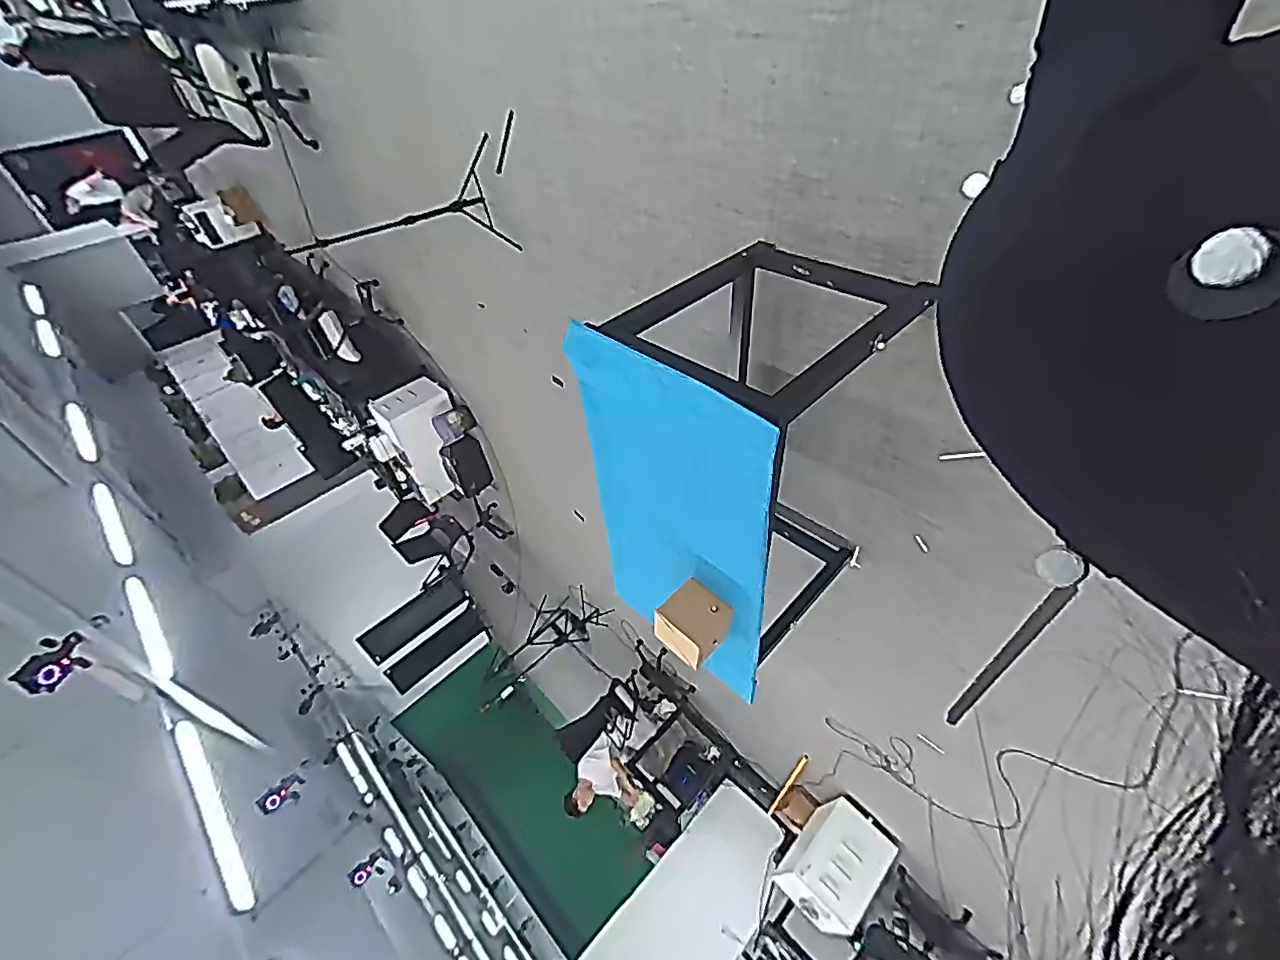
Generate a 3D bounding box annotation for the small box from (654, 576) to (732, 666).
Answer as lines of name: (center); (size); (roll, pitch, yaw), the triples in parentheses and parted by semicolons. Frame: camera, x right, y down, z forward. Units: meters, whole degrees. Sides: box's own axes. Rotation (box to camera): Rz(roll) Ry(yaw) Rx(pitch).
small box: (0.162, 0.445, 1.687); (0.179, 0.176, 0.168); (35, 146, 28)
